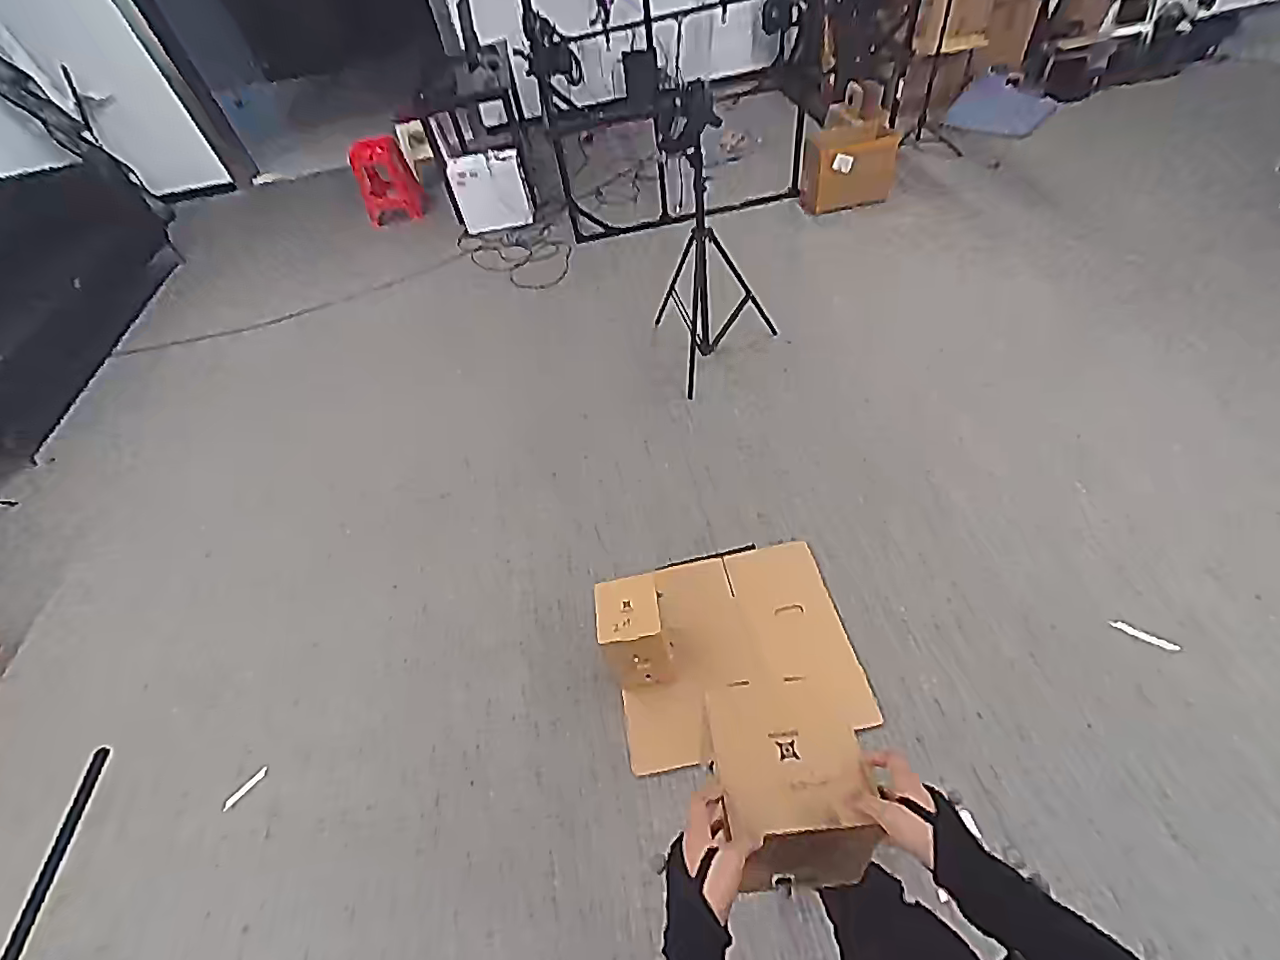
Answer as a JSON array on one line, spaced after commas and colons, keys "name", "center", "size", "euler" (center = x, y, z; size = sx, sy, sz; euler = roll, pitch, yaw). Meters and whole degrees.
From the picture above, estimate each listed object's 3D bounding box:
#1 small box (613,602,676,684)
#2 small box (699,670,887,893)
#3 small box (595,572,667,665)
[{"name": "small box", "center": [0.009, 0.483, 1.582], "size": [0.168, 0.176, 0.179], "euler": [-11, 51, 1]}, {"name": "small box", "center": [0.166, 0.359, 0.654], "size": [0.168, 0.176, 0.179], "euler": [-5, 36, -2]}, {"name": "small box", "center": [-0.024, 0.376, 1.459], "size": [0.168, 0.176, 0.179], "euler": [-10, 50, 3]}]
